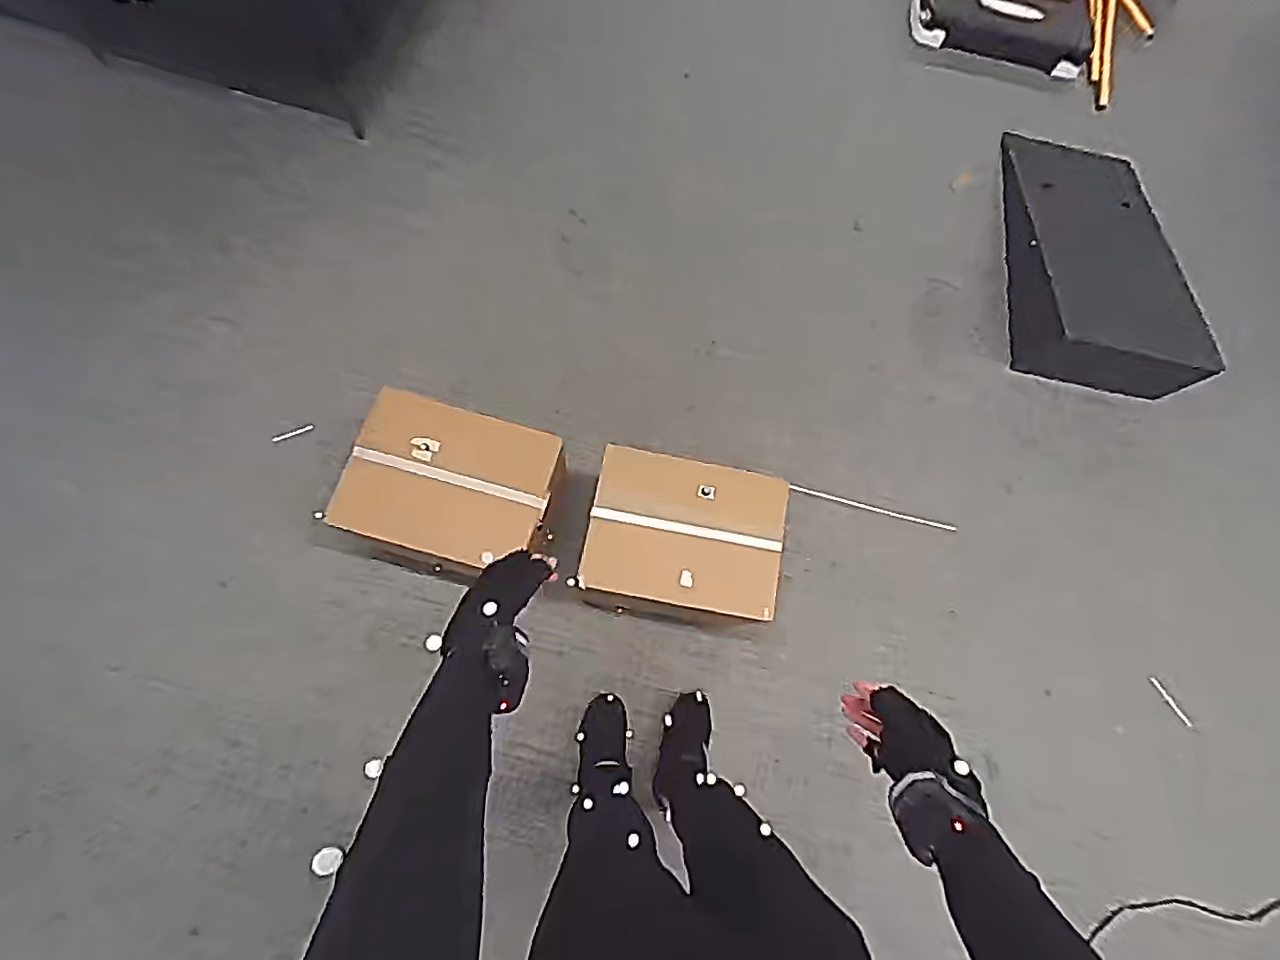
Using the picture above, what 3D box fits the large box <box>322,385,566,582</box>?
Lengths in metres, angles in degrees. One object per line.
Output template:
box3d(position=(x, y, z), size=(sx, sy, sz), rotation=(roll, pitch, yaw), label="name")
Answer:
box3d(position=(-0.408, 0.028, 1.247), size=(0.408, 0.320, 0.320), rotation=(16, 72, 0), label="large box")
